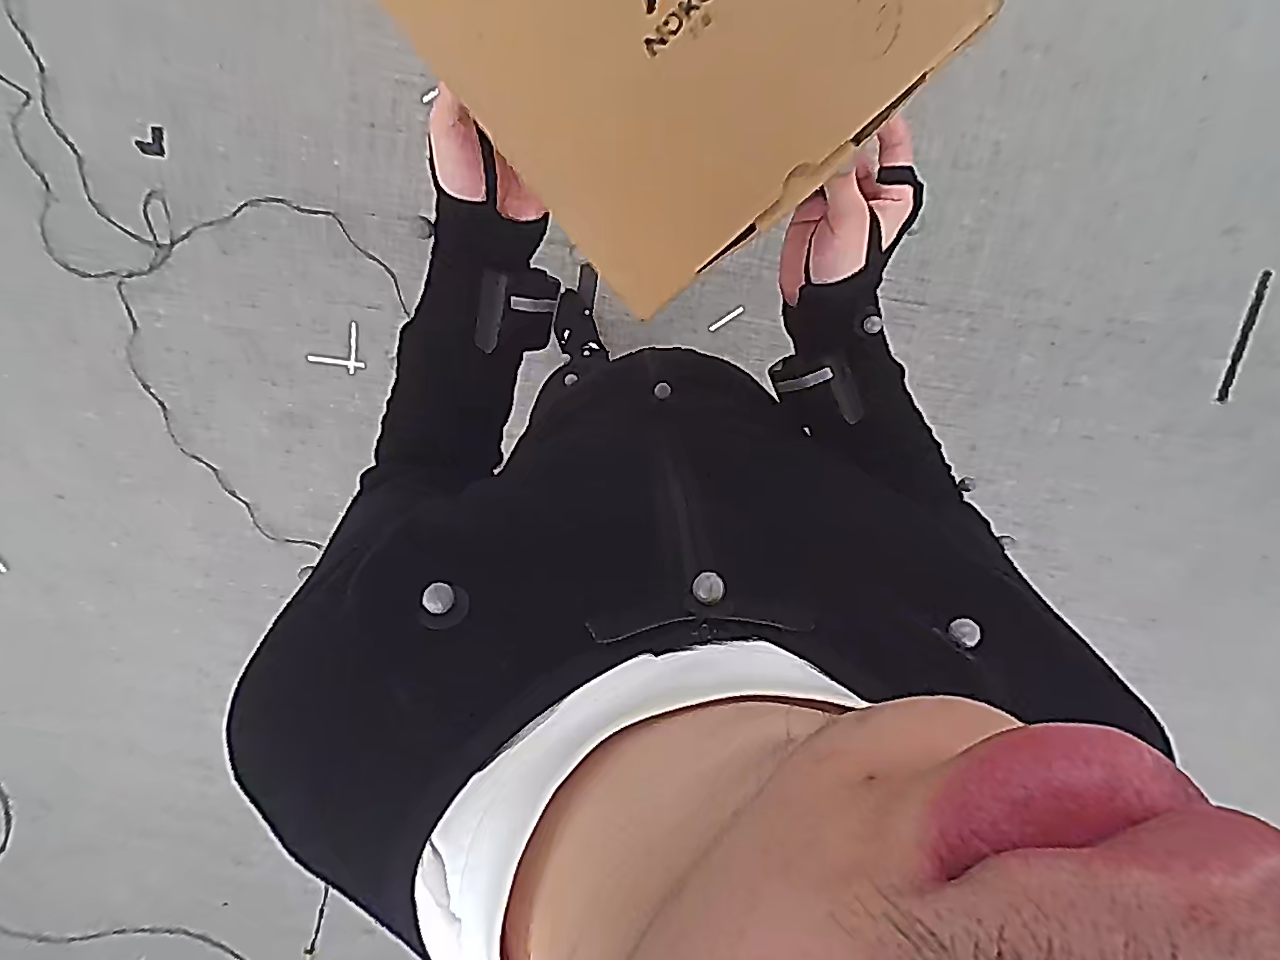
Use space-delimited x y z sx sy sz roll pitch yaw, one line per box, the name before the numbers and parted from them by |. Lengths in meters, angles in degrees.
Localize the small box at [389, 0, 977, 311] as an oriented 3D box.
small box | 0.011 -0.213 0.267 0.168 0.176 0.179 -37 106 16
